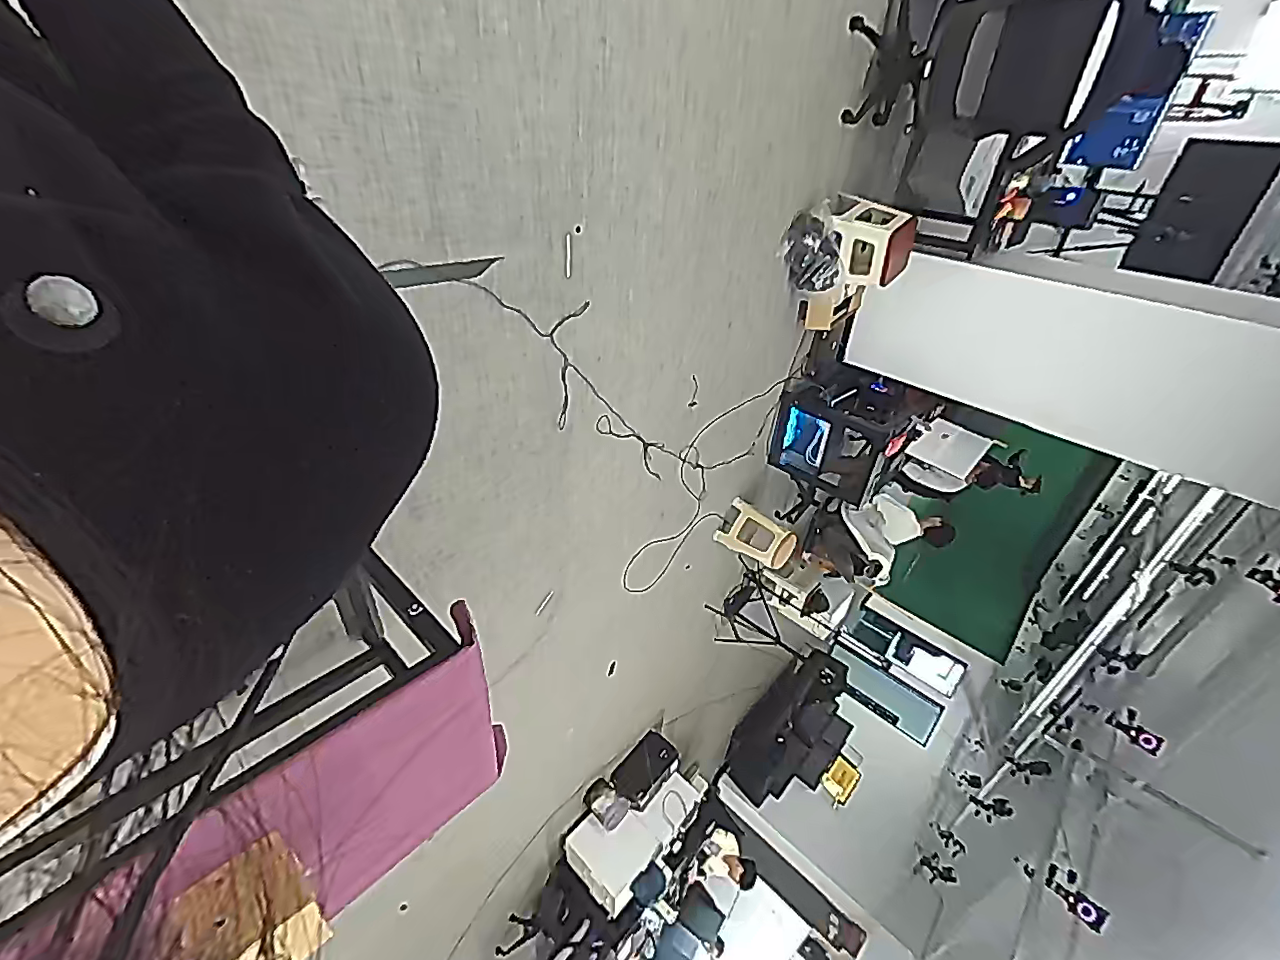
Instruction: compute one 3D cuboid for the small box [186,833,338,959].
[{"bbox_3d":[-0.693,0.801,0.996,0.168,0.176,0.179,-27,138,-39],"label":"small box"}]
